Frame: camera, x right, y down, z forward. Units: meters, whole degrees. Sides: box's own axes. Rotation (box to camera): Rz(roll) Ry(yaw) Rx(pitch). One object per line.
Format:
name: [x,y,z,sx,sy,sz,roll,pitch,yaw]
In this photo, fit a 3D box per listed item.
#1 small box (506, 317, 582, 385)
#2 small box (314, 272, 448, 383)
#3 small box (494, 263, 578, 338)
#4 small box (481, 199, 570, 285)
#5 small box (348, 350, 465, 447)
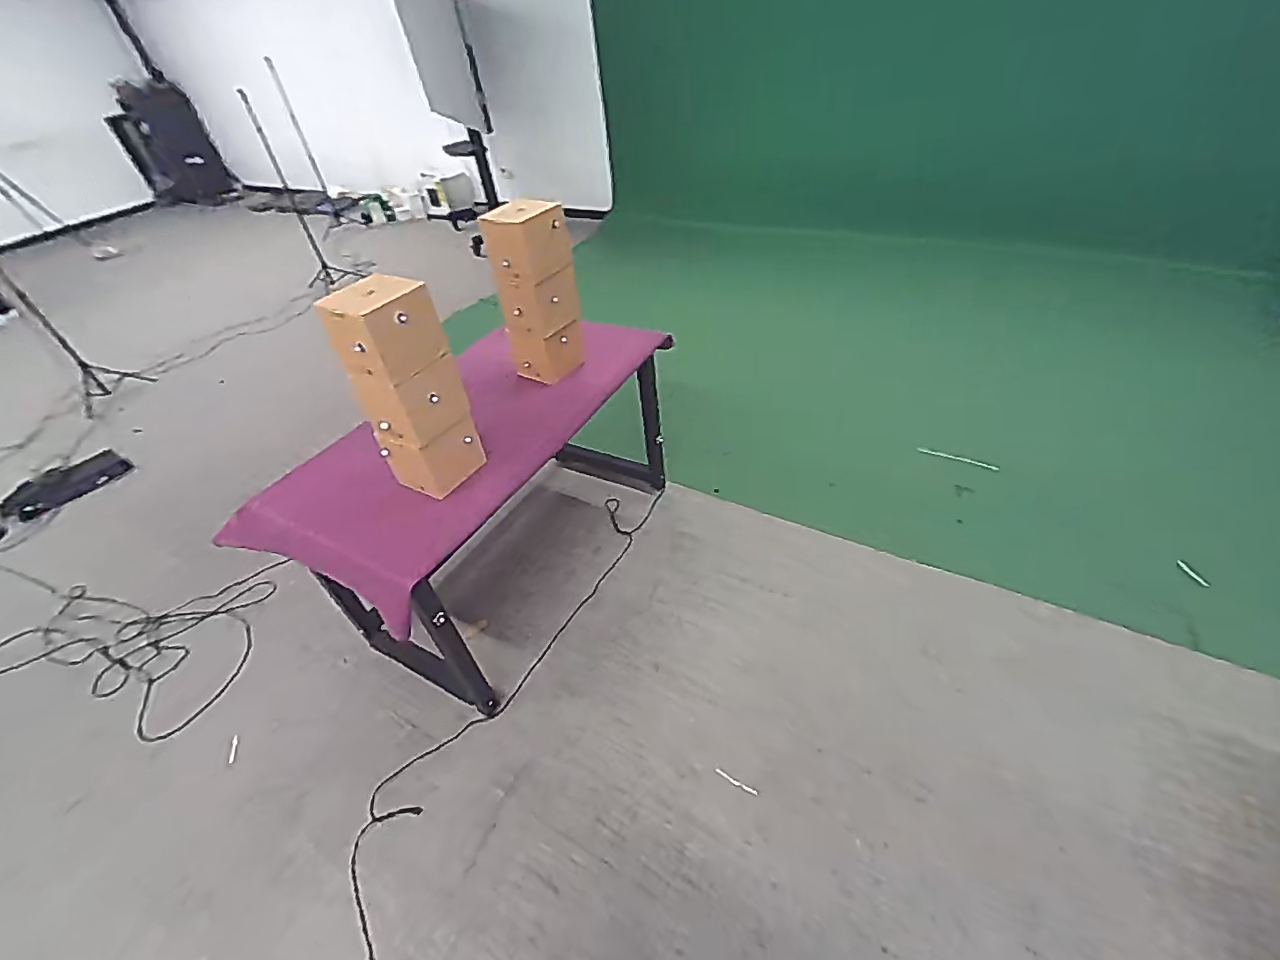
small box: [-0.304,-0.439,1.763,0.168,0.176,0.179,22,50,28]
small box: [-0.555,-0.333,1.183,0.168,0.176,0.179,19,47,25]
small box: [-0.309,-0.556,1.648,0.168,0.176,0.179,23,51,28]
small box: [-0.317,-0.679,1.537,0.168,0.176,0.179,22,50,28]
small box: [-0.542,-0.209,1.288,0.168,0.176,0.179,18,47,25]
